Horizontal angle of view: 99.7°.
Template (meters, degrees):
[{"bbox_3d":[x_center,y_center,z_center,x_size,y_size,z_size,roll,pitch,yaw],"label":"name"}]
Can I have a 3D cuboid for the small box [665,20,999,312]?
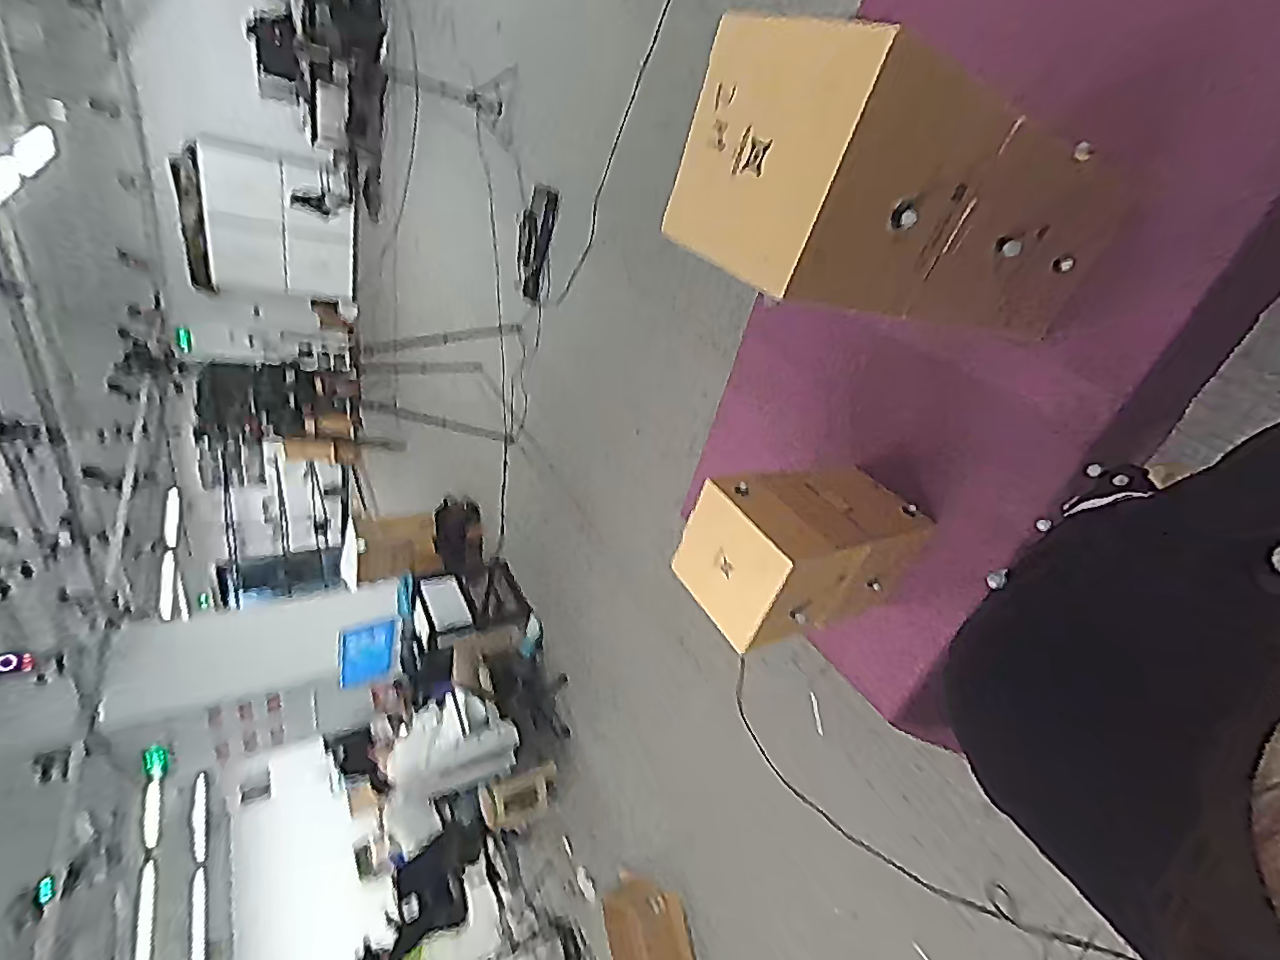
[{"bbox_3d":[0.155,-0.256,0.464,0.179,0.176,0.168,50,133,39],"label":"small box"}]

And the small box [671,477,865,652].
[{"bbox_3d":[0.178,0.107,0.766,0.179,0.176,0.168,49,131,41],"label":"small box"}]

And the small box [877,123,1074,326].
[{"bbox_3d":[0.290,-0.271,0.559,0.179,0.176,0.168,51,133,37],"label":"small box"}]

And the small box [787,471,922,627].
[{"bbox_3d":[0.311,0.098,0.859,0.168,0.176,0.179,47,130,41],"label":"small box"}]
